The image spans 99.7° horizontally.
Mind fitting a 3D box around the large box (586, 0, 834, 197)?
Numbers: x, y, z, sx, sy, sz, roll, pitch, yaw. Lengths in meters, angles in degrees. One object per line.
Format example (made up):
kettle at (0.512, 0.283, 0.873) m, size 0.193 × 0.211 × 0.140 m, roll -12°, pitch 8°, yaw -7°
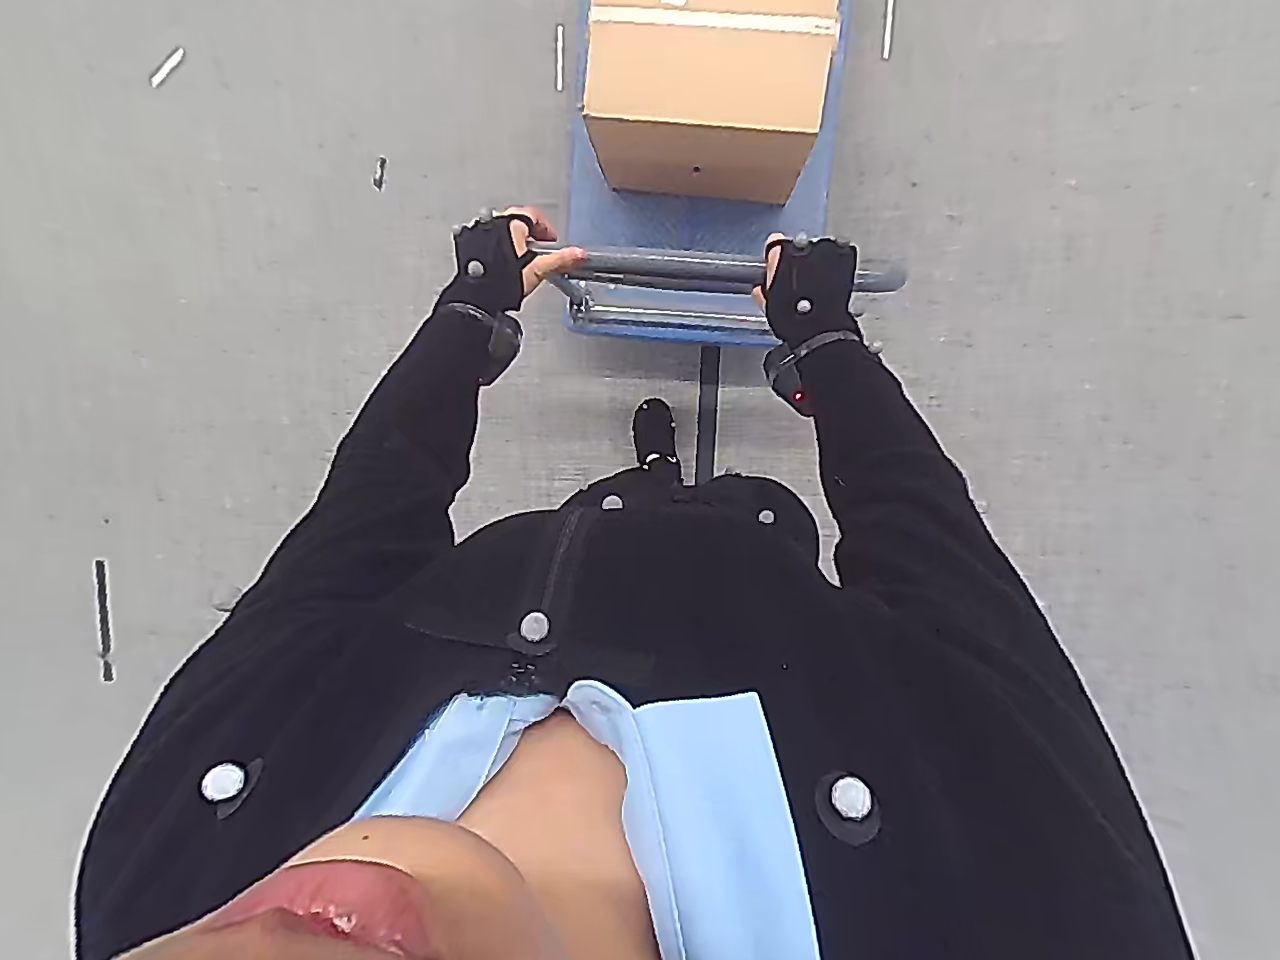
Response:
large box at (0.133, -0.779, 1.054) m, size 0.408 × 0.320 × 0.320 m, roll 7°, pitch 97°, yaw 5°
